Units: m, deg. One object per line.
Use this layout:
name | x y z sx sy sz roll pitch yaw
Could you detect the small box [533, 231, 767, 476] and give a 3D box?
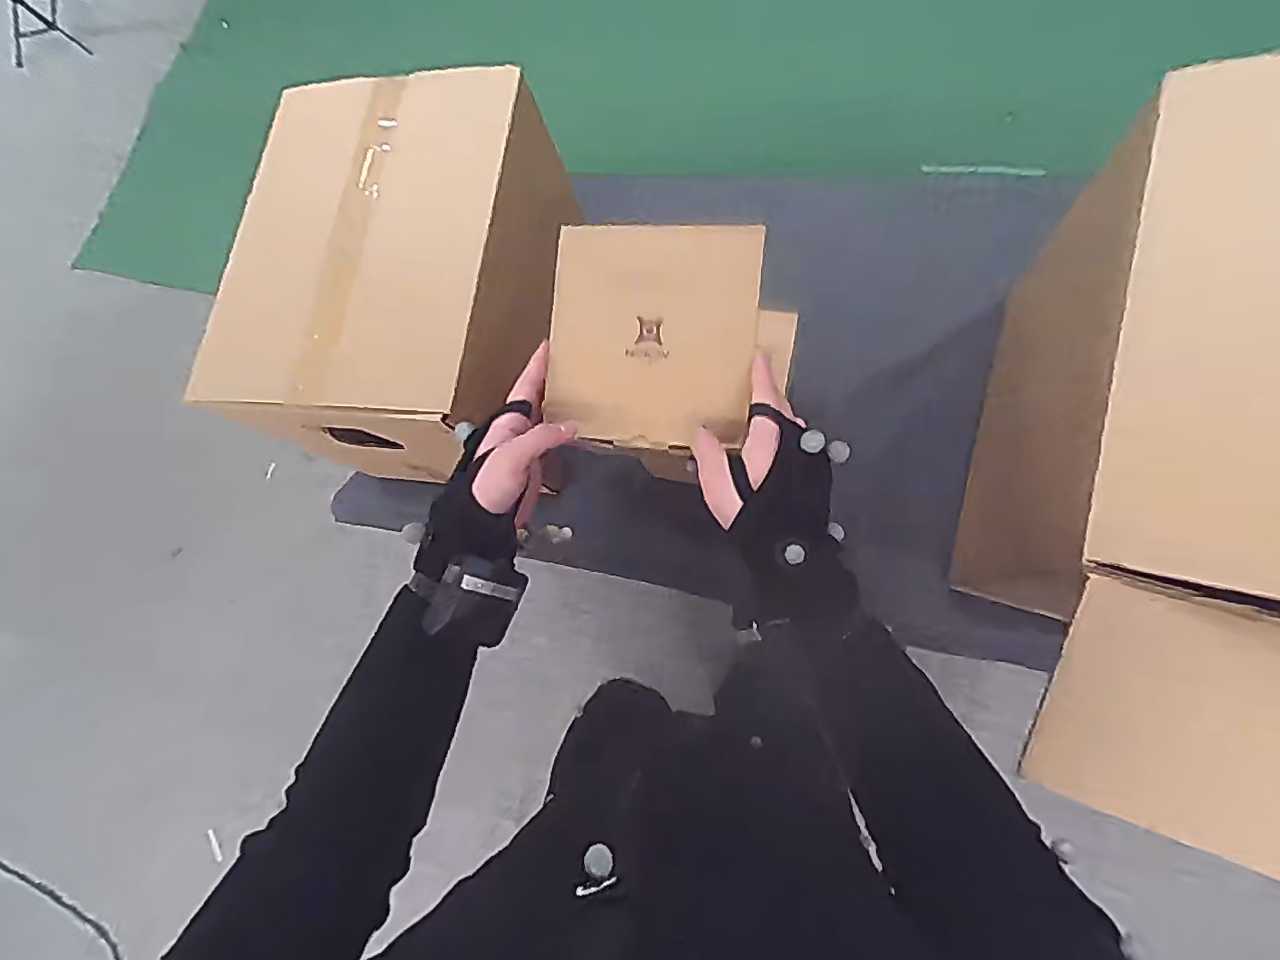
small box | 0.018 -0.096 0.479 0.168 0.176 0.179 5 89 9
